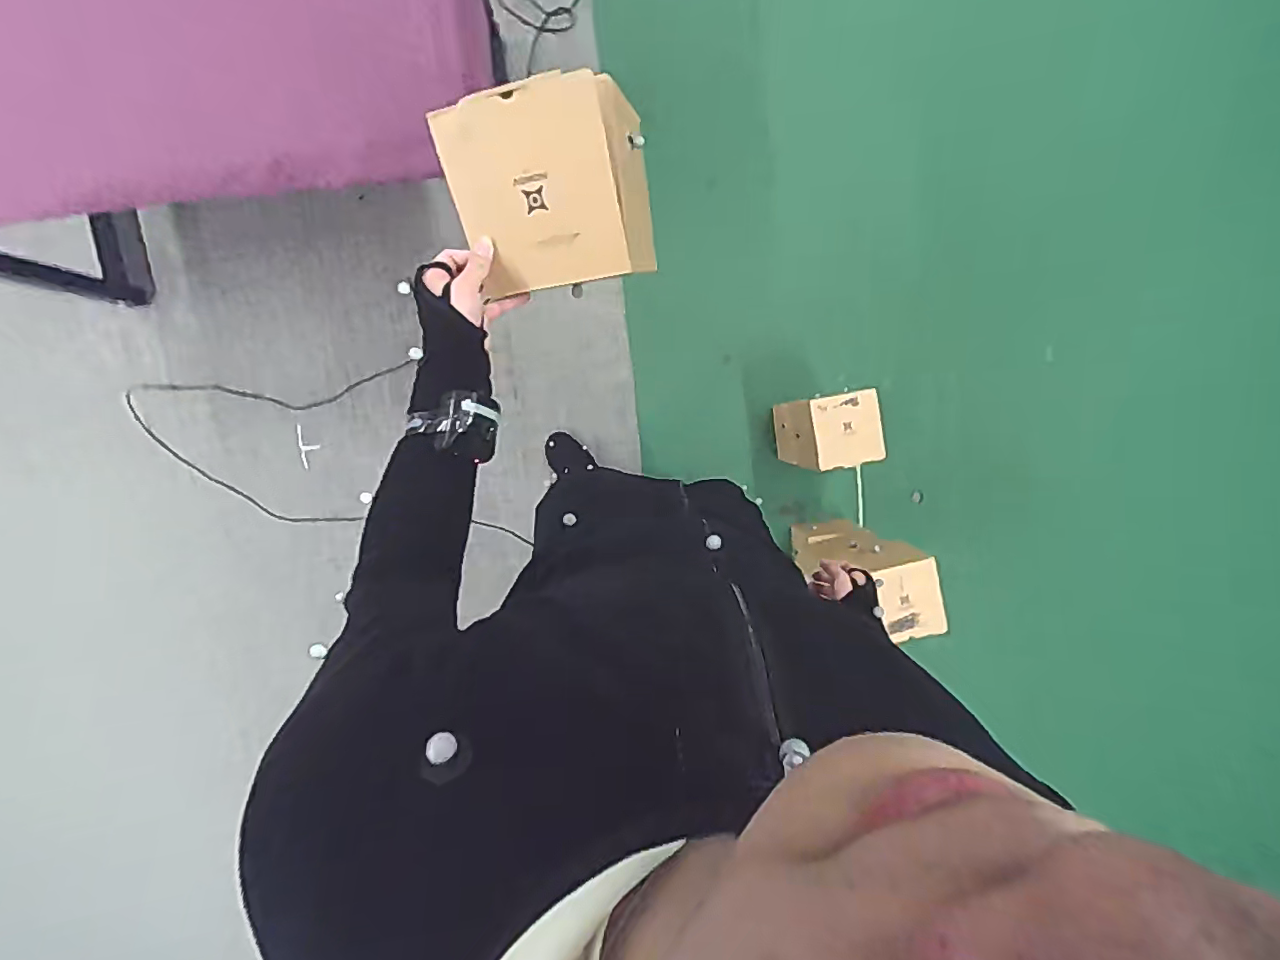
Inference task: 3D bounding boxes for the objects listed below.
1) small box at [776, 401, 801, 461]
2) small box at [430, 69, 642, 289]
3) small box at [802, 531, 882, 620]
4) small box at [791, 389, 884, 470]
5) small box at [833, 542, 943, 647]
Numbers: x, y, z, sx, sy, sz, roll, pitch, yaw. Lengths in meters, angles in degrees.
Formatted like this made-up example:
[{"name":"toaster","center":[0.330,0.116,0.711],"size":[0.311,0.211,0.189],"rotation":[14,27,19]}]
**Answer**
[{"name":"small box","center":[0.492,-0.148,1.537],"size":[0.179,0.176,0.168],"rotation":[-7,97,0]},{"name":"small box","center":[-0.100,-0.319,0.609],"size":[0.168,0.176,0.179],"rotation":[-3,112,13]},{"name":"small box","center":[0.549,0.243,1.418],"size":[0.179,0.176,0.168],"rotation":[-15,97,2]},{"name":"small box","center":[0.495,-0.132,1.372],"size":[0.168,0.176,0.179],"rotation":[-10,97,0]},{"name":"small box","center":[0.568,0.258,1.255],"size":[0.168,0.176,0.179],"rotation":[-12,97,1]}]
